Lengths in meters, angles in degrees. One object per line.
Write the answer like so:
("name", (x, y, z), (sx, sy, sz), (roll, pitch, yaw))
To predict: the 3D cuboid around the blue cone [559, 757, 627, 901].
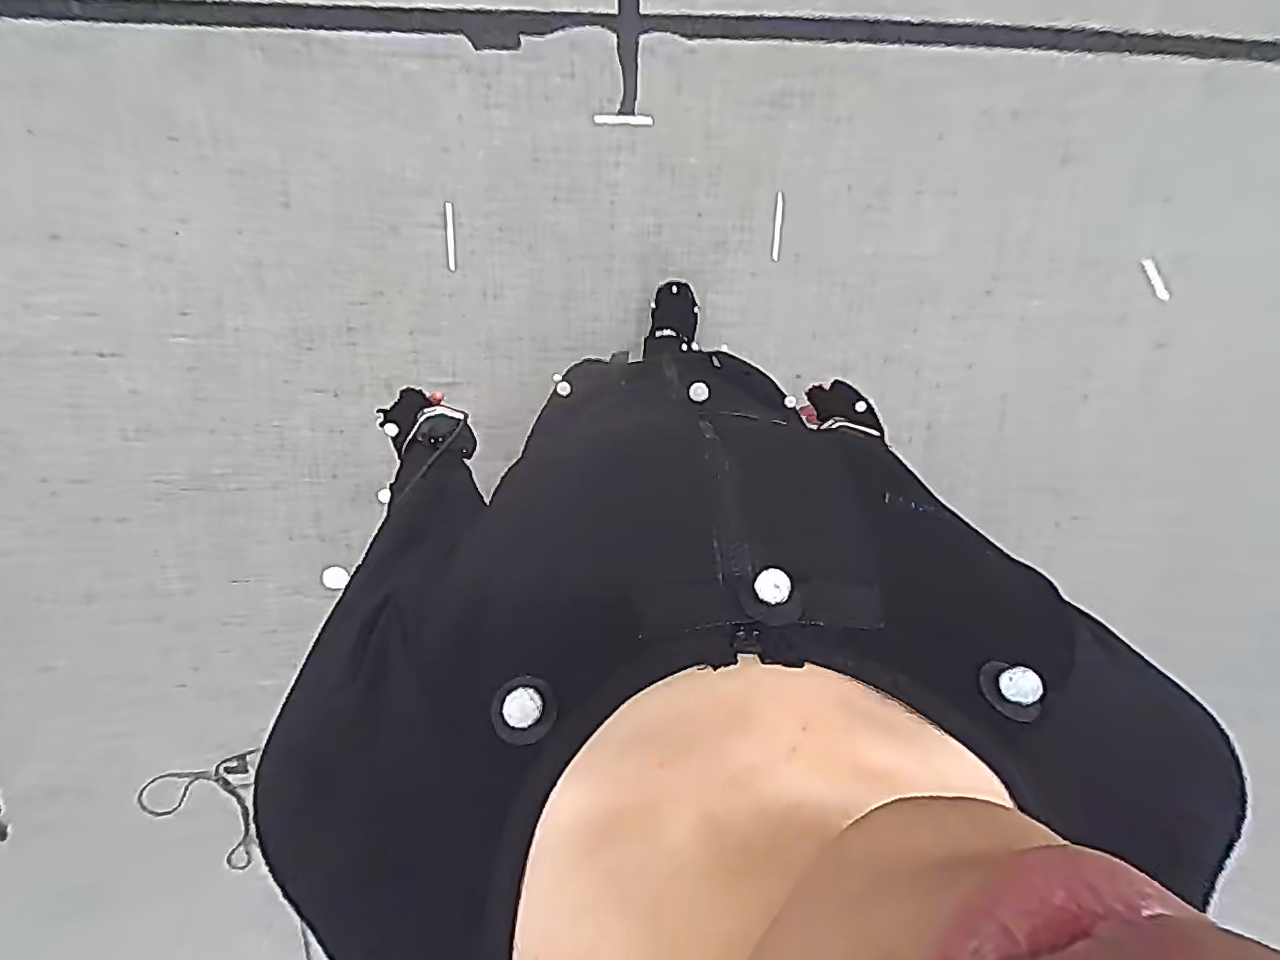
("blue cone", (-0.138, 1.000, 1.540), (0.192, 0.380, 0.193), (17, 103, -8))
